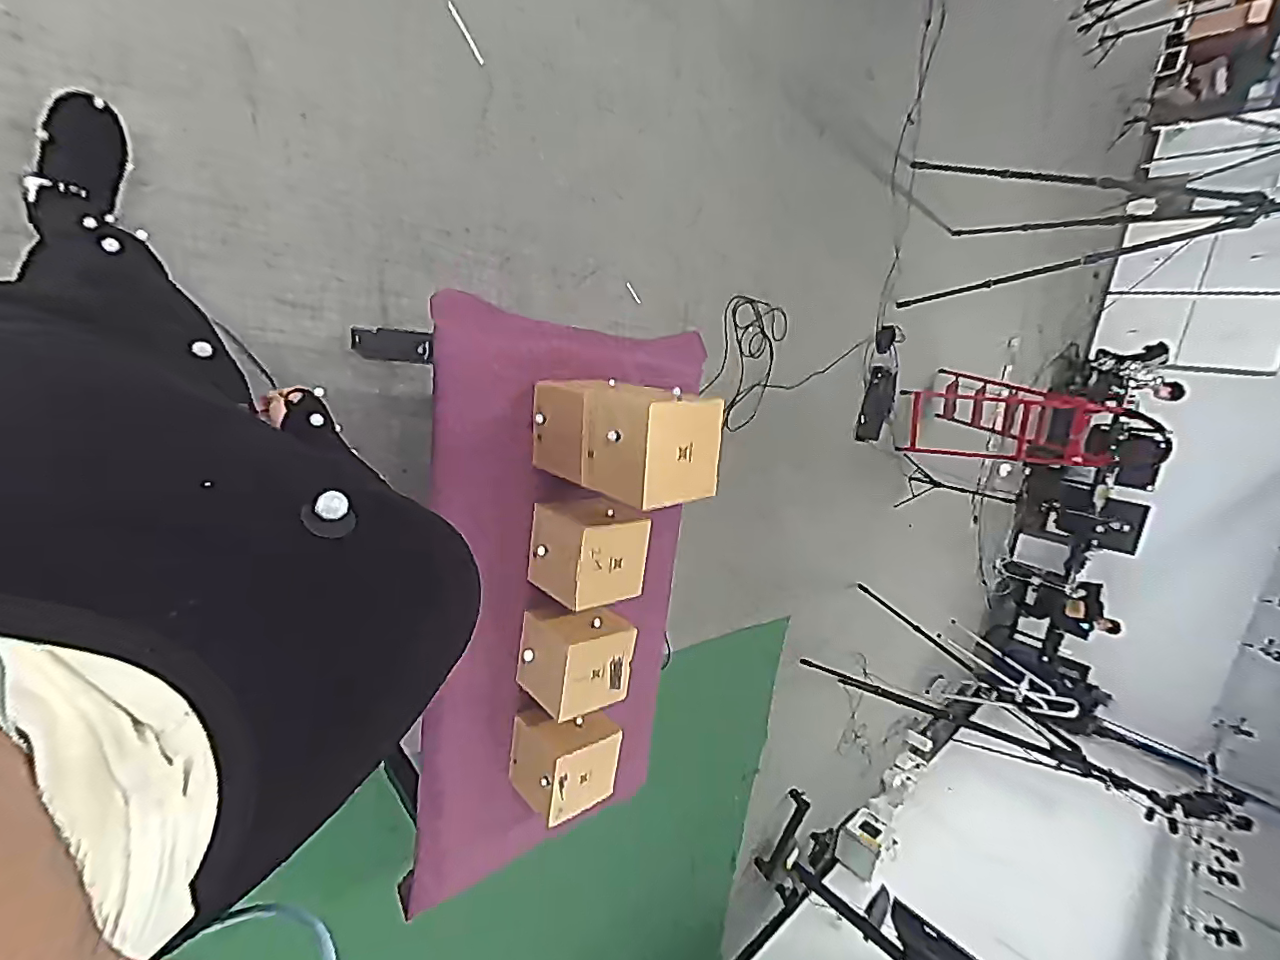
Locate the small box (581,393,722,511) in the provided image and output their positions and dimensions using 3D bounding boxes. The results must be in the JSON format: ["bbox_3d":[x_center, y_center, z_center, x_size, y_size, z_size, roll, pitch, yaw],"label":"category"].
[{"bbox_3d":[0.014,-0.056,0.919,0.179,0.176,0.168,-10,110,-42],"label":"small box"}]

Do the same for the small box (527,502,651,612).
[{"bbox_3d":[-0.106,0.146,1.101,0.179,0.176,0.168,-3,106,-43],"label":"small box"}]

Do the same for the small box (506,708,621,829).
[{"bbox_3d":[-0.171,0.612,1.198,0.179,0.176,0.168,-2,104,-44],"label":"small box"}]

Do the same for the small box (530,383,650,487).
[{"bbox_3d":[-0.091,-0.094,1.036,0.179,0.176,0.168,-10,110,-41],"label":"small box"}]

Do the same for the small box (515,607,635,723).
[{"bbox_3d":[-0.140,0.374,1.147,0.179,0.176,0.168,0,104,-42],"label":"small box"}]
